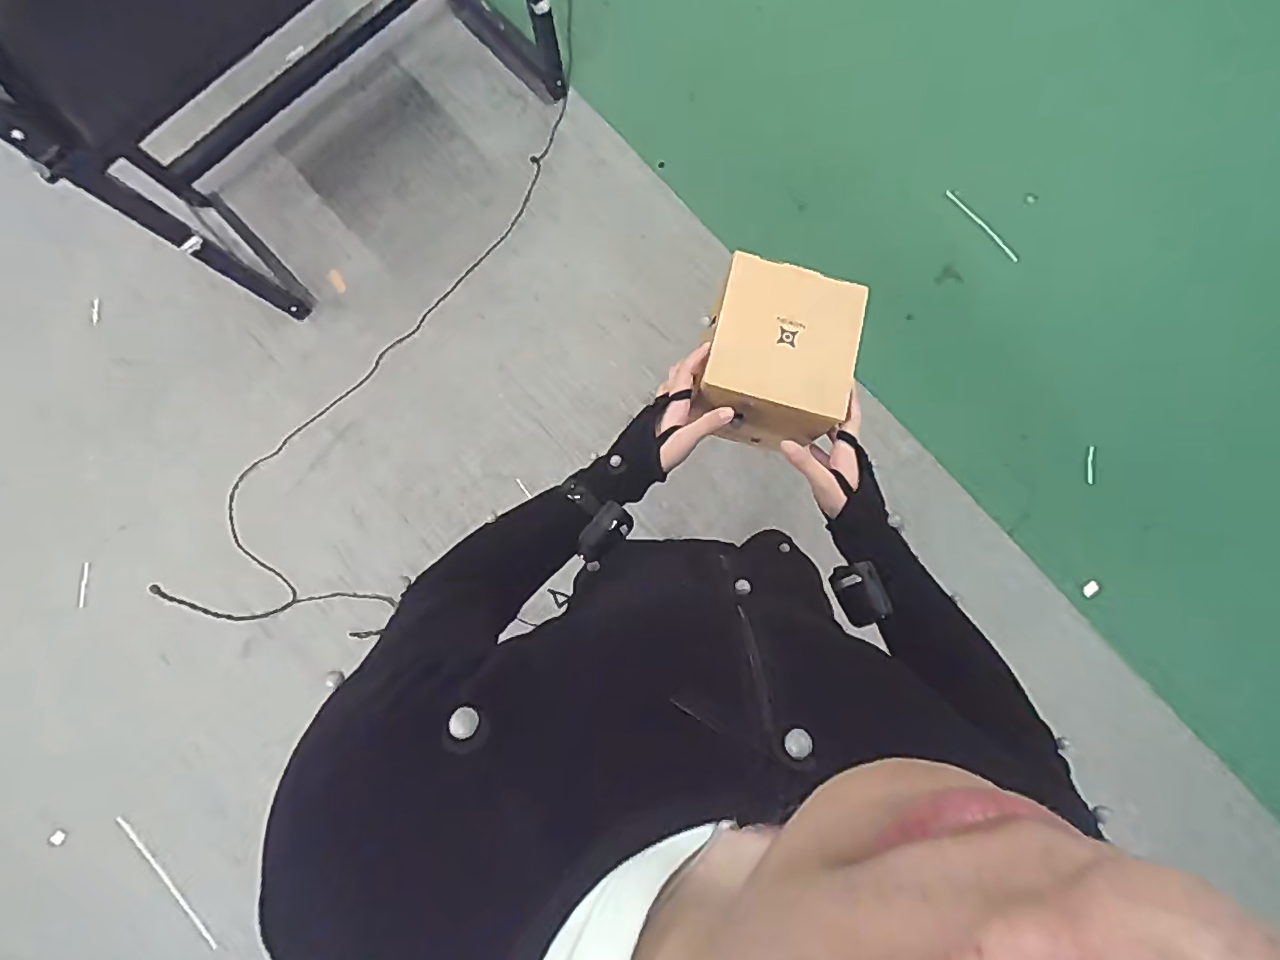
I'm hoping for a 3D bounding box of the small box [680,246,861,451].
[{"bbox_3d":[0.152,-0.152,0.683,0.168,0.176,0.179,14,76,-1],"label":"small box"}]
